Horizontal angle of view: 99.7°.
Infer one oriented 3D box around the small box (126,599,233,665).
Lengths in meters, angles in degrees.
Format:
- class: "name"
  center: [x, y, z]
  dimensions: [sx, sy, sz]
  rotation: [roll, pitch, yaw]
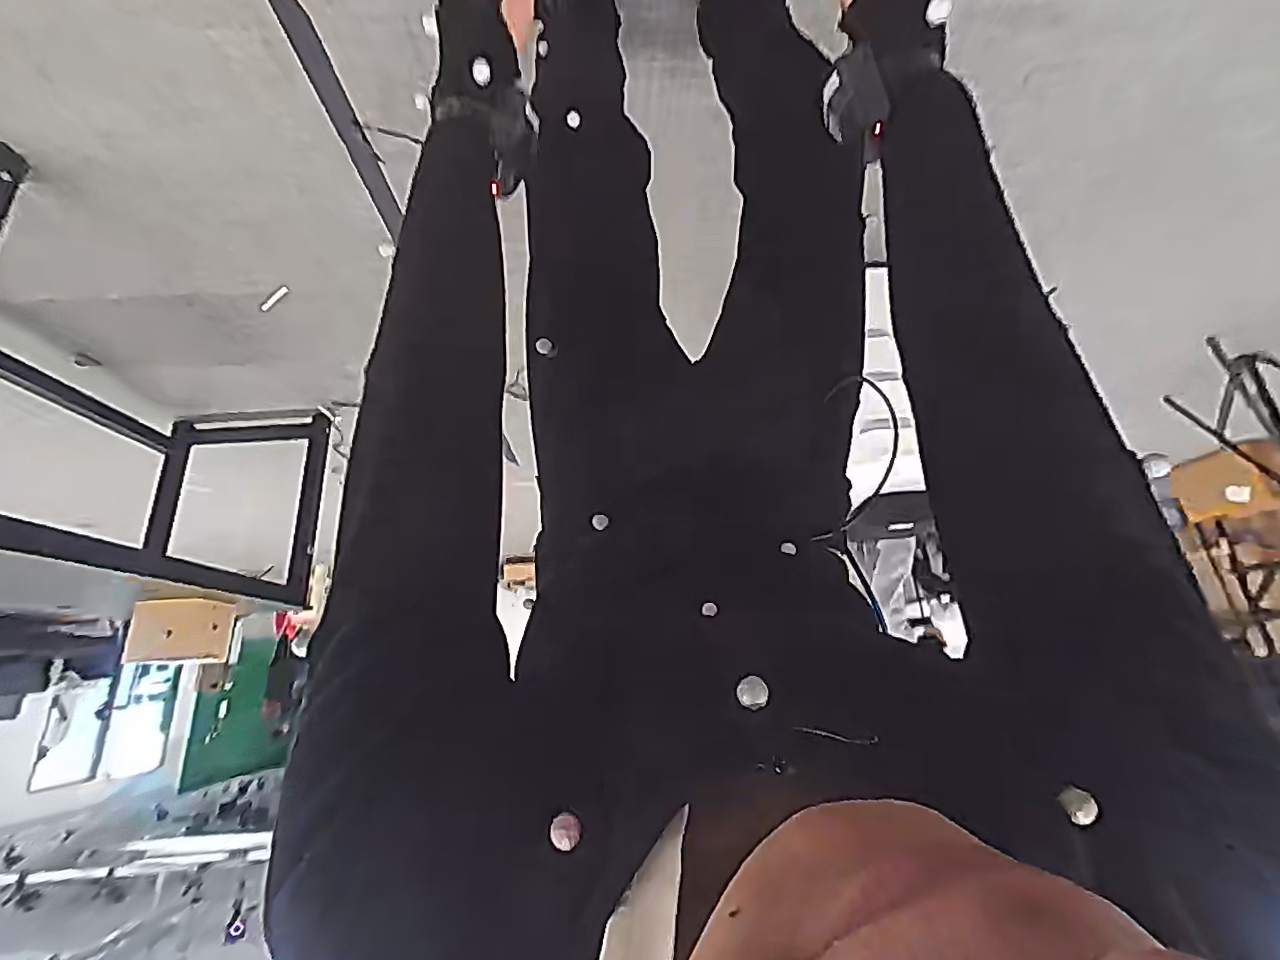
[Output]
- class: "small box"
  center: [-1.317, 0.441, 1.563]
  dimensions: [0.179, 0.176, 0.168]
  rotation: [-2, 160, -6]
